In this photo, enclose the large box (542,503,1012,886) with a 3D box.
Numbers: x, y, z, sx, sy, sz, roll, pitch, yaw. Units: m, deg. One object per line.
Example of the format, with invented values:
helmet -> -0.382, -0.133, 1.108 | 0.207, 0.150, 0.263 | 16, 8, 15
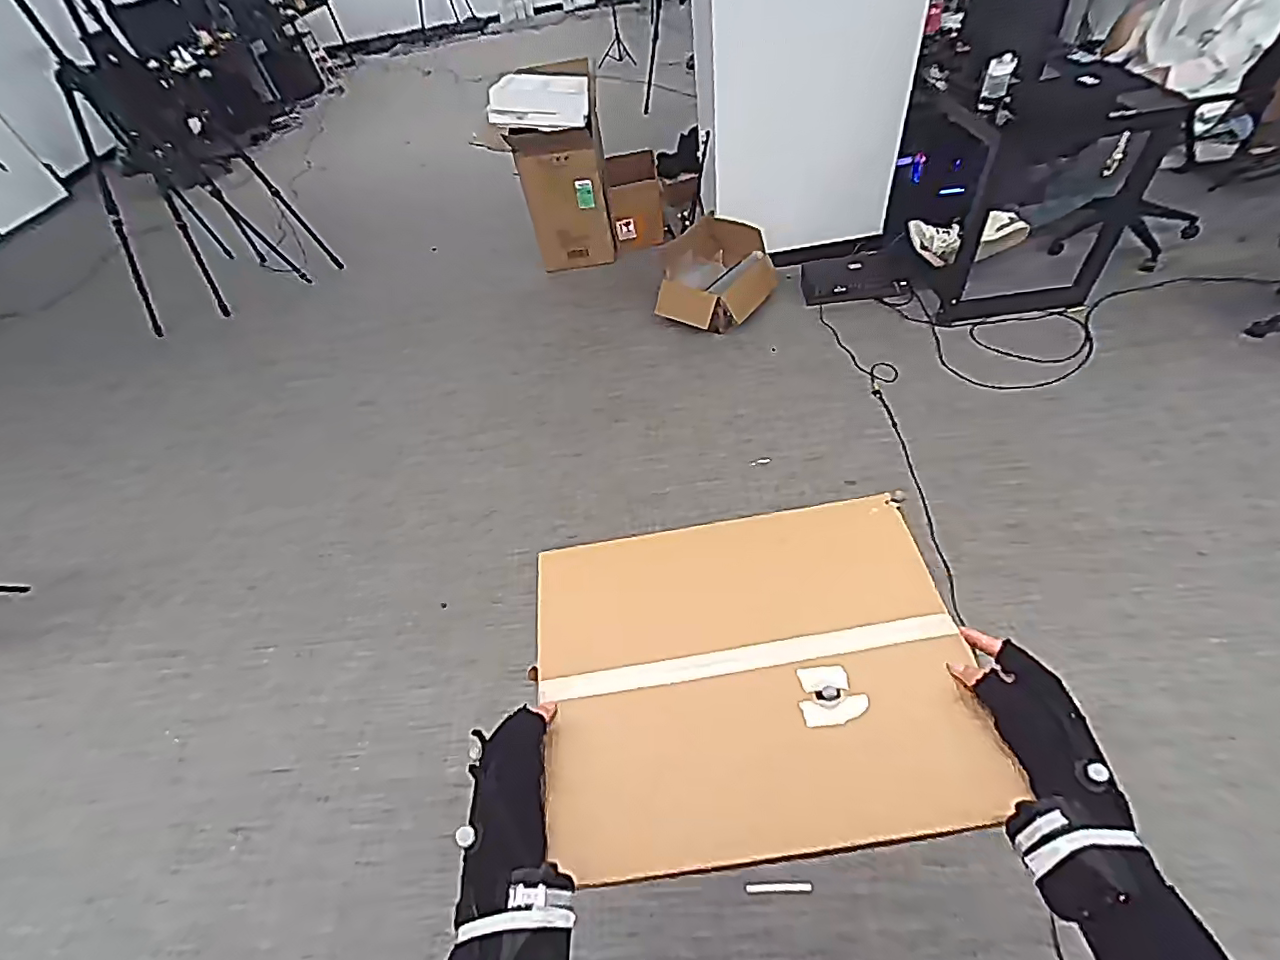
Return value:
large box -> 0.117, 0.271, 0.662 | 0.408, 0.320, 0.320 | -10, 54, 1
